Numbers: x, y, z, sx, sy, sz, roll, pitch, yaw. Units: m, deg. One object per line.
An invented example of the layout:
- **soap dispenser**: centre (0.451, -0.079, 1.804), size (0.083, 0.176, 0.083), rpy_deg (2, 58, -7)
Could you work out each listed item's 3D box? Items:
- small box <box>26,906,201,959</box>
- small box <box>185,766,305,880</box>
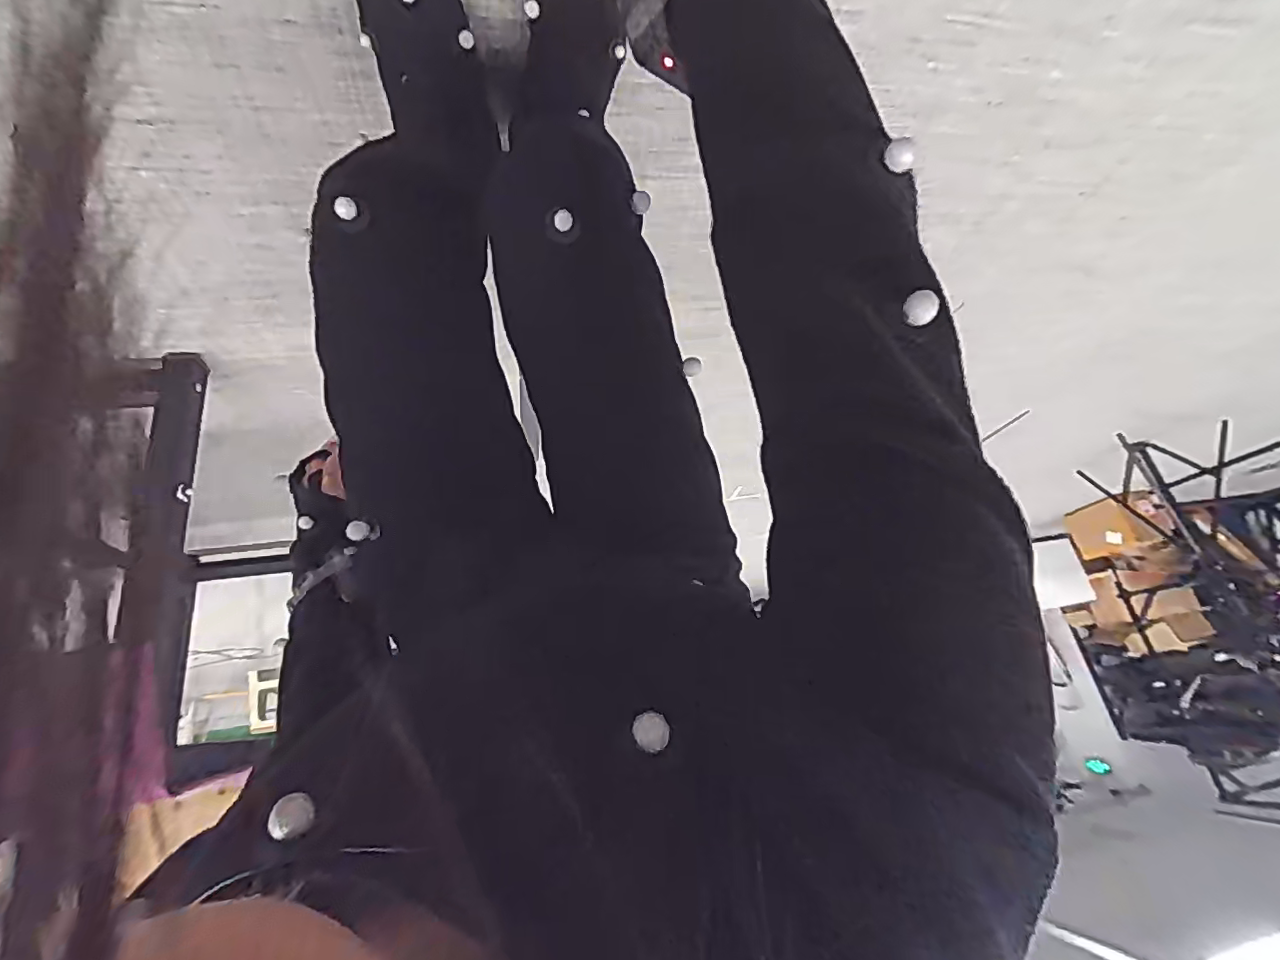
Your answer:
- **small box**: centre (-0.748, 0.728, 0.748), size (0.168, 0.176, 0.179), rpy_deg (-4, 158, -16)
- **small box**: centre (-0.866, 0.750, 1.203), size (0.168, 0.176, 0.179), rpy_deg (-5, 157, -15)
